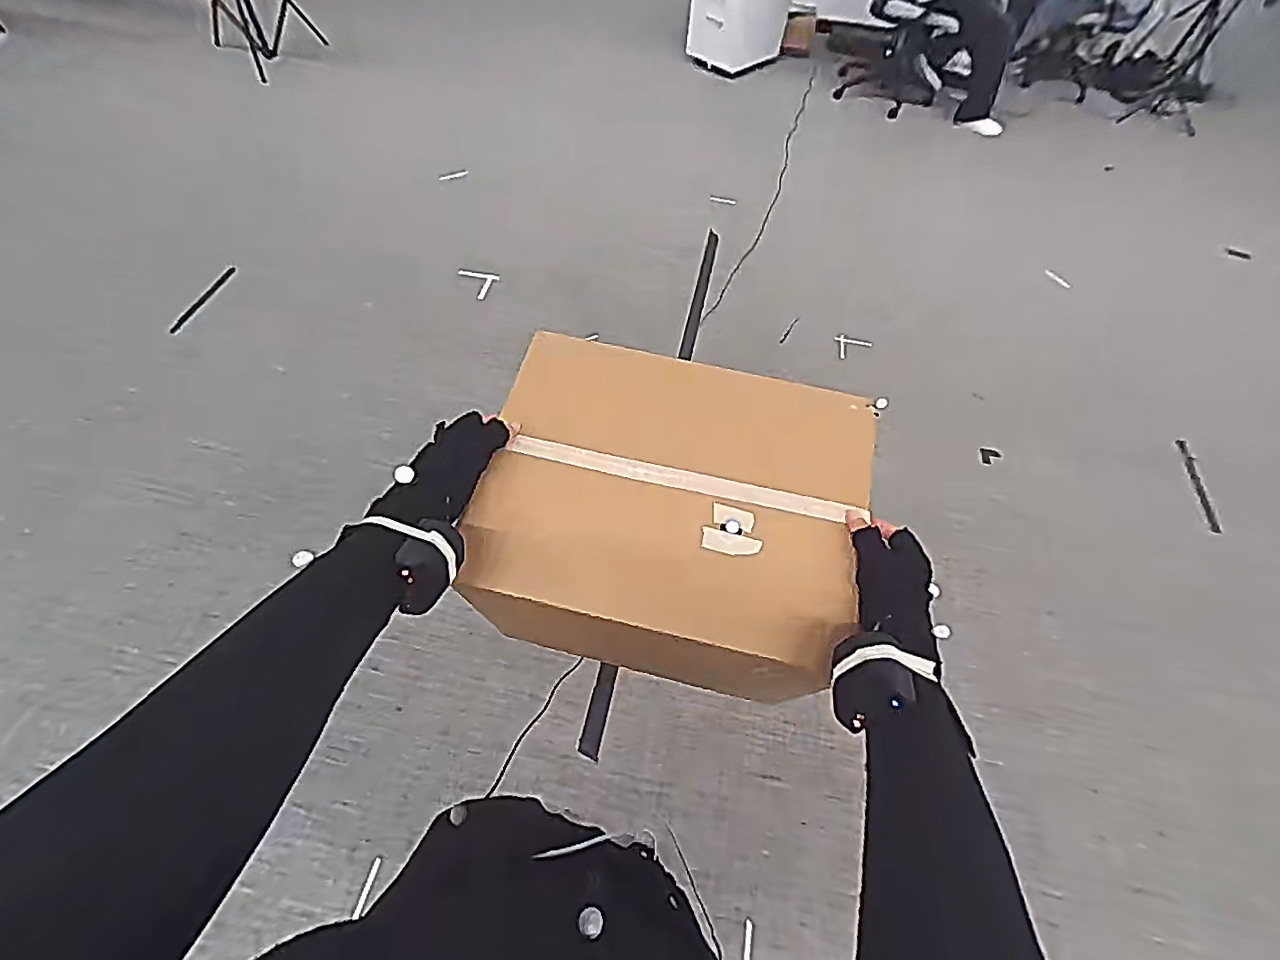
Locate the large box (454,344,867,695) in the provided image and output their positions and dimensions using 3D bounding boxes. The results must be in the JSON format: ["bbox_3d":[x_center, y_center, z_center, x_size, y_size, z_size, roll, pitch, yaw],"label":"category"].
[{"bbox_3d":[0.034,0.069,0.714,0.408,0.320,0.320,13,65,4],"label":"large box"}]
